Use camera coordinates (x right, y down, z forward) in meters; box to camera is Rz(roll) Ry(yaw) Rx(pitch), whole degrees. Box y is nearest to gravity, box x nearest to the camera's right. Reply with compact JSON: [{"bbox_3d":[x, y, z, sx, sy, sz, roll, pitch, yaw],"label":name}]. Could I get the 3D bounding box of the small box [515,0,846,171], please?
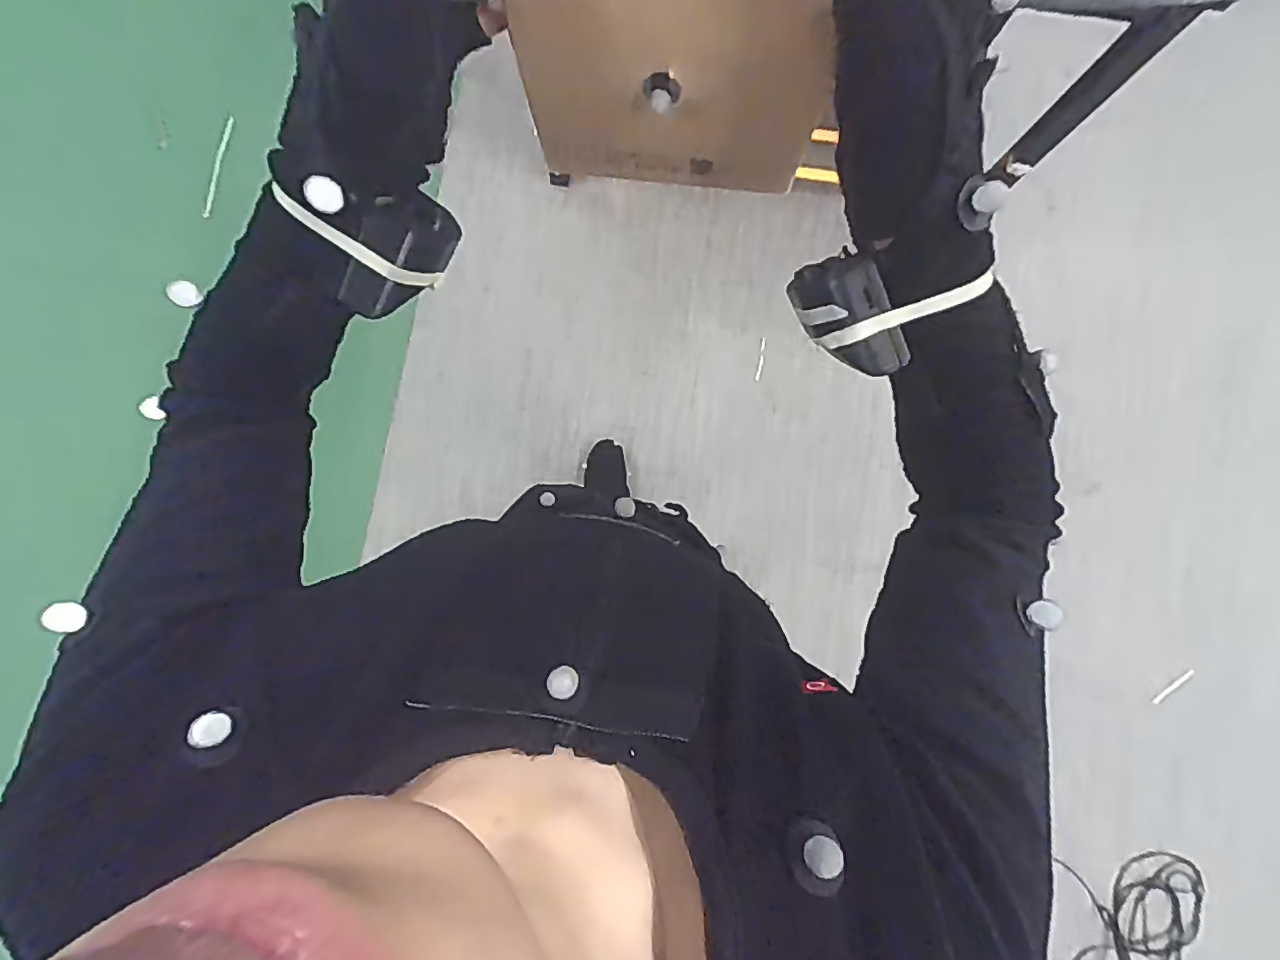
[{"bbox_3d":[0.028,-0.305,0.297,0.168,0.176,0.179,7,84,1],"label":"small box"}]
